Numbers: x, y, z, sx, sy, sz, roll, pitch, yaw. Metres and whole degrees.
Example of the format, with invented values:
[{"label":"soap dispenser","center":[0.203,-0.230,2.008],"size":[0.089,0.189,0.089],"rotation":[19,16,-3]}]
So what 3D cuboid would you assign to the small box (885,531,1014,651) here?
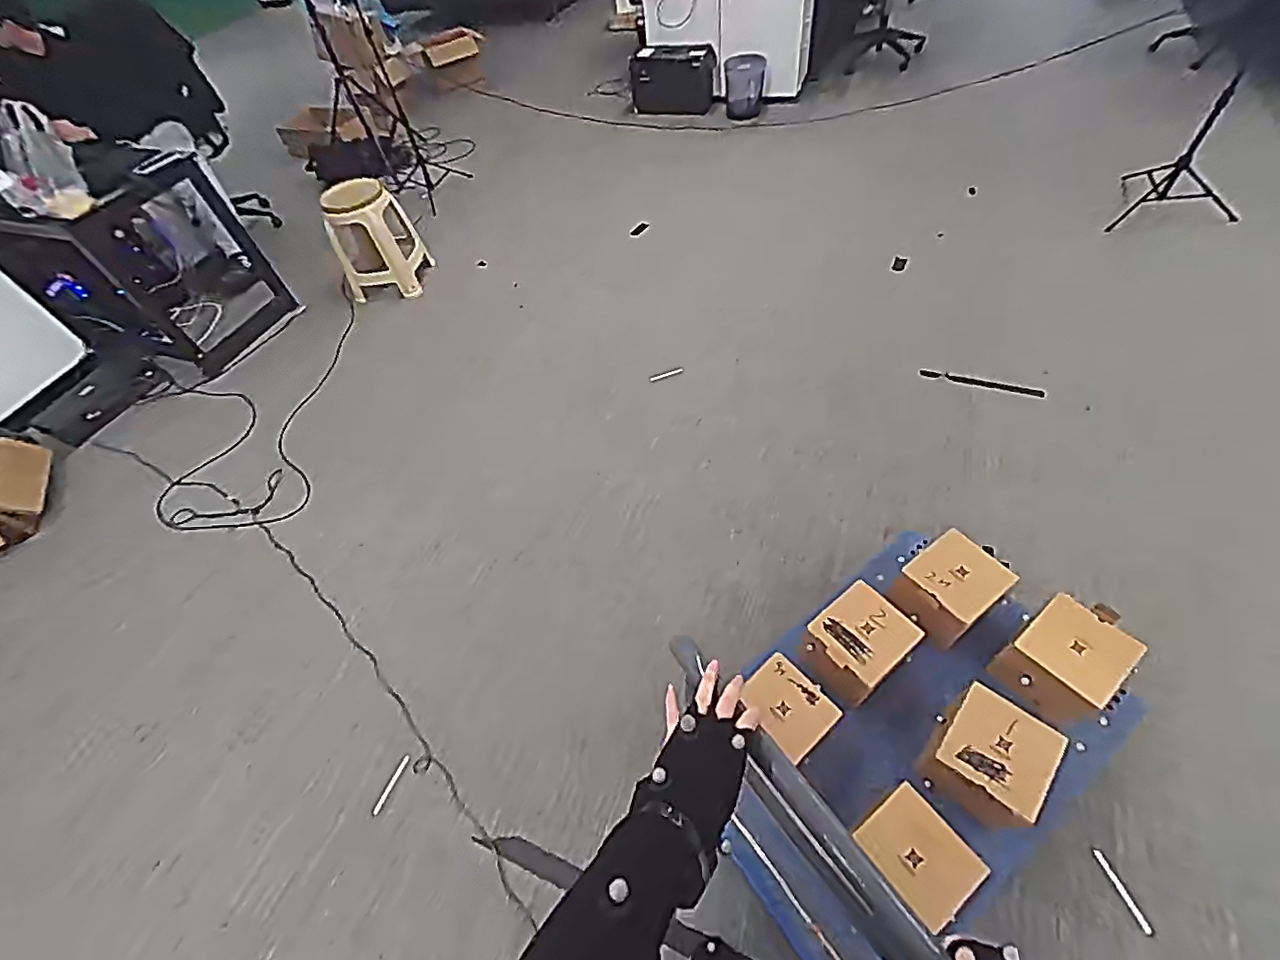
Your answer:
[{"label":"small box","center":[0.696,0.256,1.240],"size":[0.179,0.176,0.168],"rotation":[-32,55,-15]}]

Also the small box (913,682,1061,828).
[{"label":"small box","center":[0.654,0.532,1.040],"size":[0.168,0.176,0.179],"rotation":[33,63,28]}]

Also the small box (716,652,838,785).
[{"label":"small box","center":[0.277,0.498,1.119],"size":[0.179,0.176,0.168],"rotation":[-36,58,-18]}]

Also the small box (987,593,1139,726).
[{"label":"small box","center":[0.862,0.378,1.125],"size":[0.179,0.176,0.168],"rotation":[-36,56,-18]}]

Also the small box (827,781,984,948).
[{"label":"small box","center":[0.456,0.678,0.962],"size":[0.179,0.176,0.168],"rotation":[-33,56,-16]}]
